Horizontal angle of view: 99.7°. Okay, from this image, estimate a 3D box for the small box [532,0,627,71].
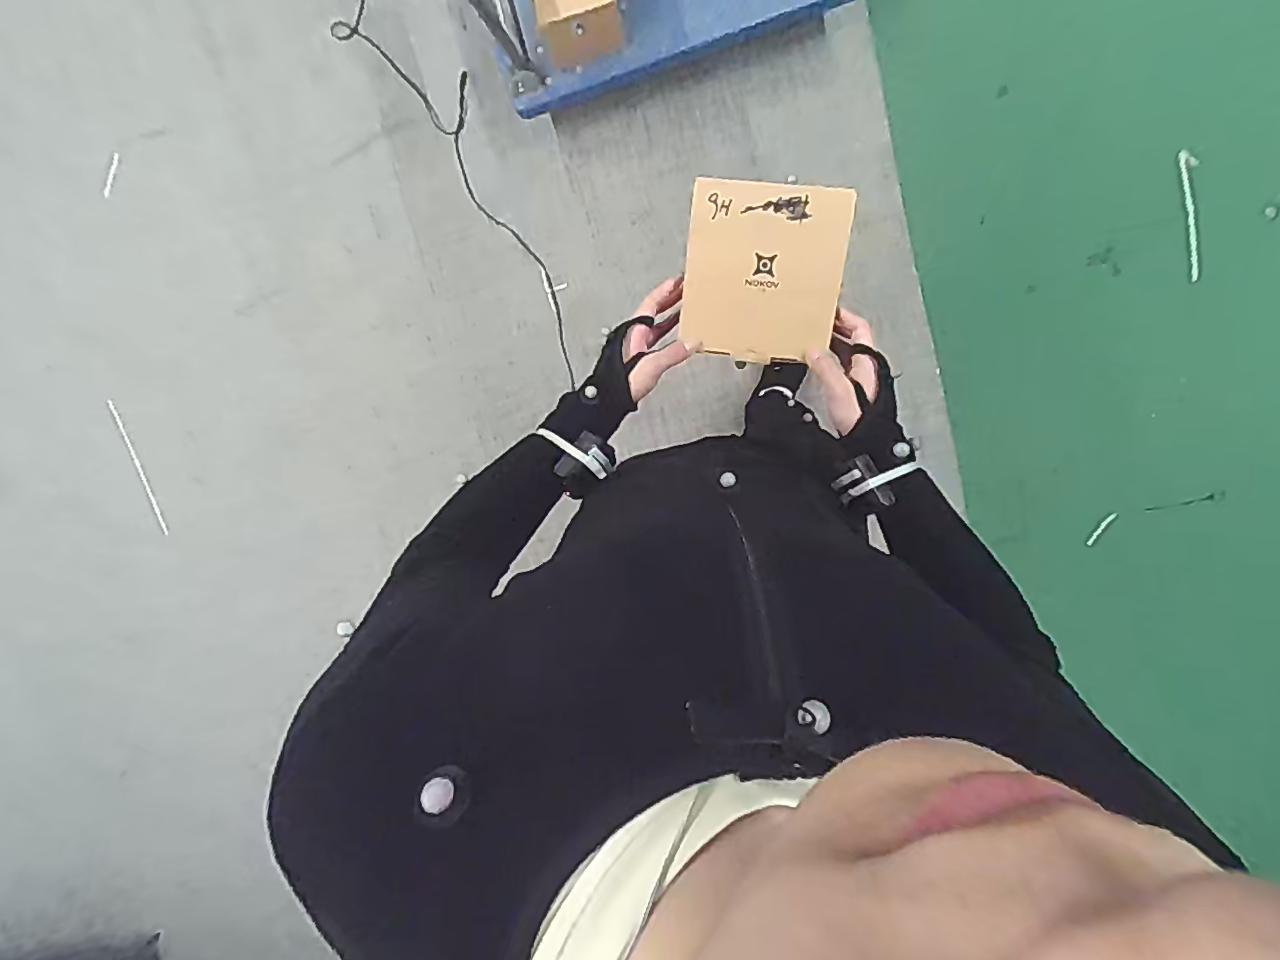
[{"bbox_3d":[-0.139,-1.061,1.207,0.179,0.176,0.168,-11,98,8],"label":"small box"}]
